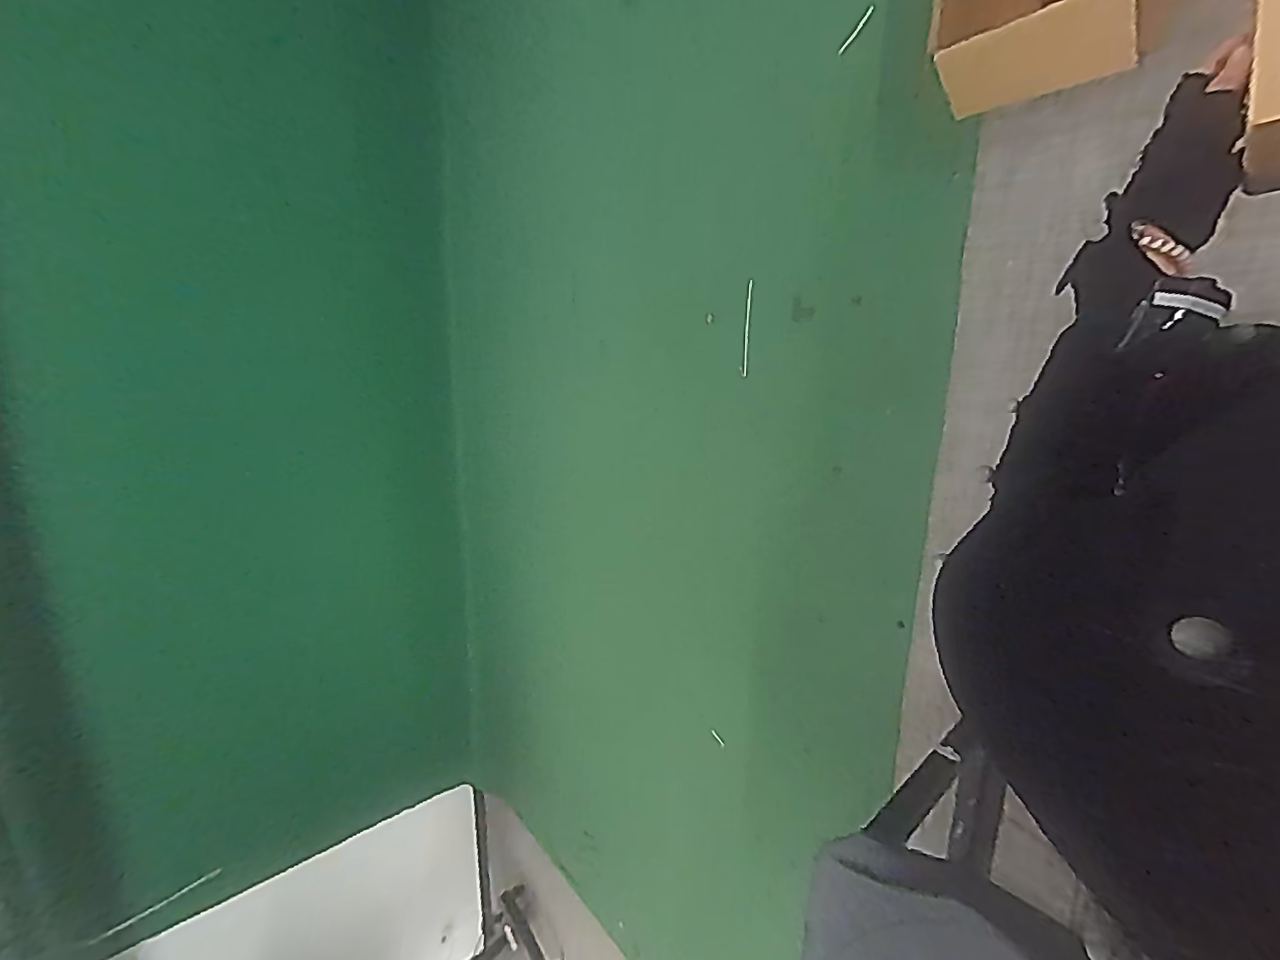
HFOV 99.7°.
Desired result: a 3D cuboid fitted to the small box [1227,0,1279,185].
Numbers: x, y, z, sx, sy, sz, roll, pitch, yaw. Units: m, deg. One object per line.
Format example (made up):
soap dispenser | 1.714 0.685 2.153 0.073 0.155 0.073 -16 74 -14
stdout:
small box | 0.478 -0.302 0.313 0.179 0.176 0.168 5 98 46
